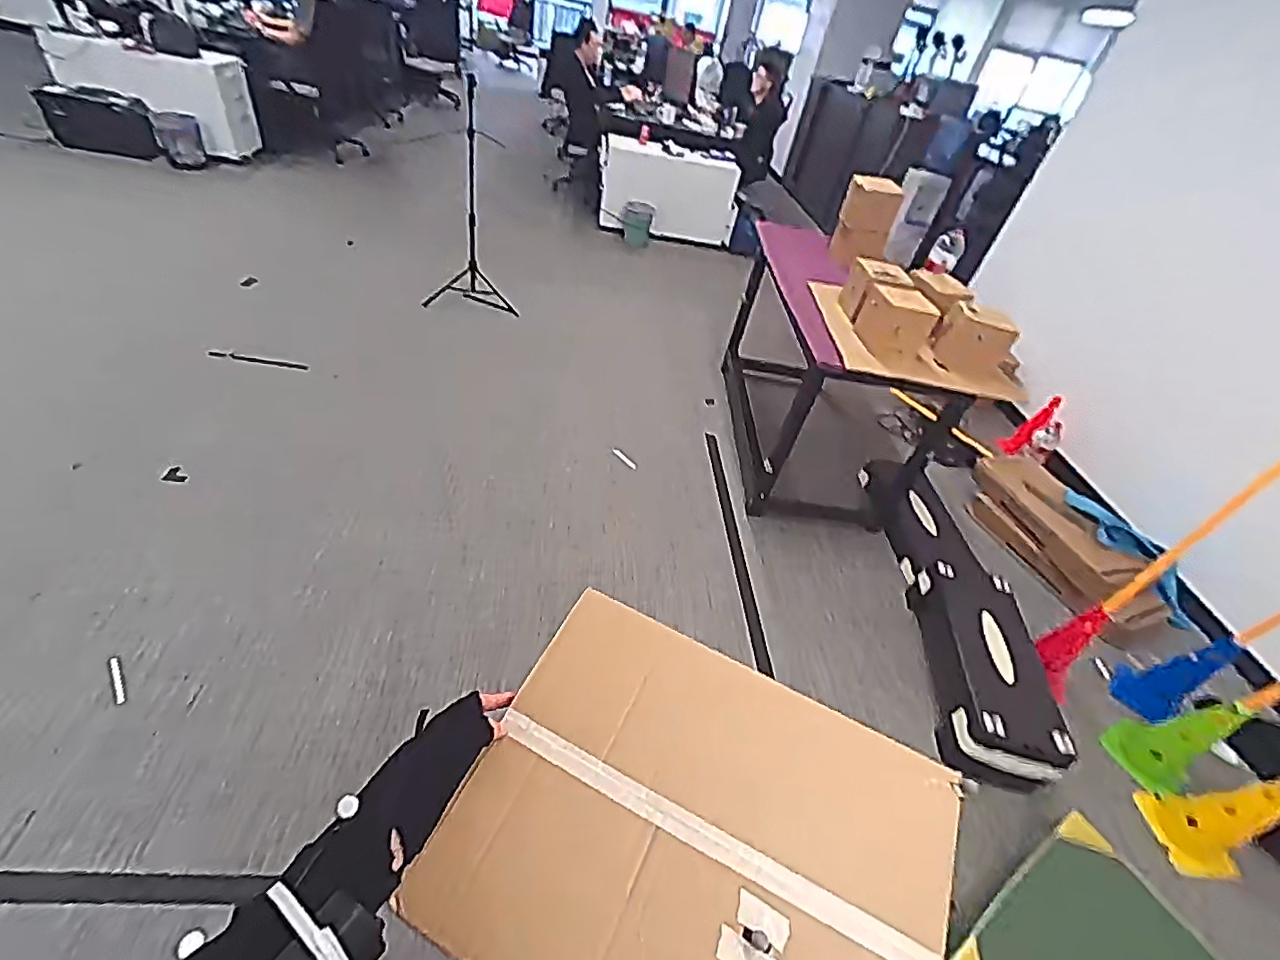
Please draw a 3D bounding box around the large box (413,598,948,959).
[{"bbox_3d":[0.043,0.401,0.593,0.408,0.320,0.320,24,53,13],"label":"large box"}]
